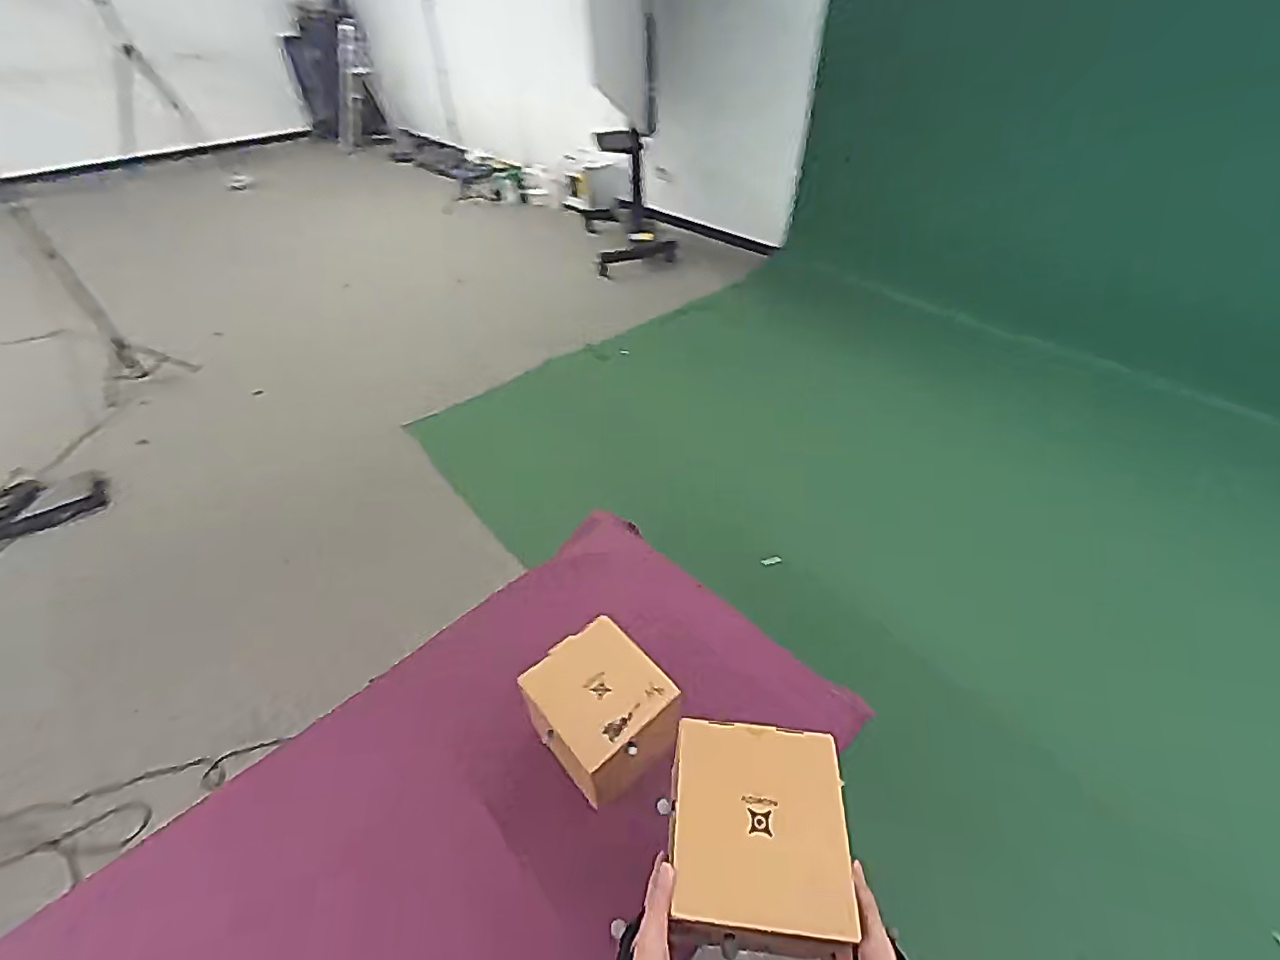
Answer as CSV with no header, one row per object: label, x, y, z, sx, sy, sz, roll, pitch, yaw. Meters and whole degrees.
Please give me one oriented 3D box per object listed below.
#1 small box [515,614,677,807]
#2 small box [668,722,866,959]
small box,-0.063,0.347,0.816,0.168,0.176,0.179,-32,51,-28
small box,0.119,0.384,0.567,0.168,0.176,0.179,5,44,5
